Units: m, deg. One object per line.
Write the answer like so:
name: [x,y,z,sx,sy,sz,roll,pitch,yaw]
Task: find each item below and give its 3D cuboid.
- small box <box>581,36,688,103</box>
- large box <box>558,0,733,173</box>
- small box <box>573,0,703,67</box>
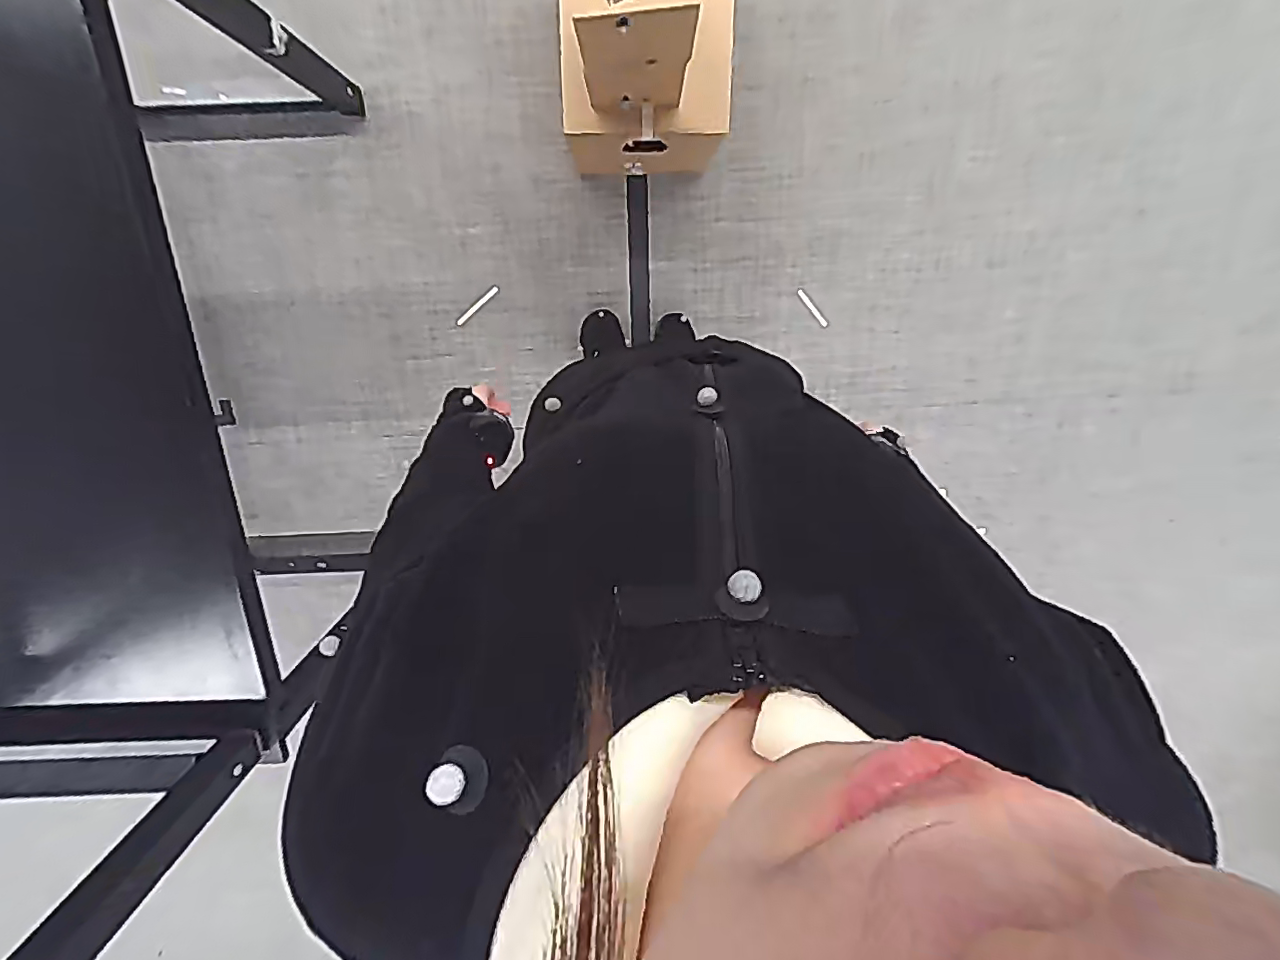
small box: [-0.009,-0.746,0.878,0.168,0.176,0.179,-1,108,1]
large box: [0.008,-0.883,1.092,0.320,0.320,0.408,-1,106,-2]
small box: [-0.008,-0.696,0.722,0.168,0.176,0.179,-4,106,2]
